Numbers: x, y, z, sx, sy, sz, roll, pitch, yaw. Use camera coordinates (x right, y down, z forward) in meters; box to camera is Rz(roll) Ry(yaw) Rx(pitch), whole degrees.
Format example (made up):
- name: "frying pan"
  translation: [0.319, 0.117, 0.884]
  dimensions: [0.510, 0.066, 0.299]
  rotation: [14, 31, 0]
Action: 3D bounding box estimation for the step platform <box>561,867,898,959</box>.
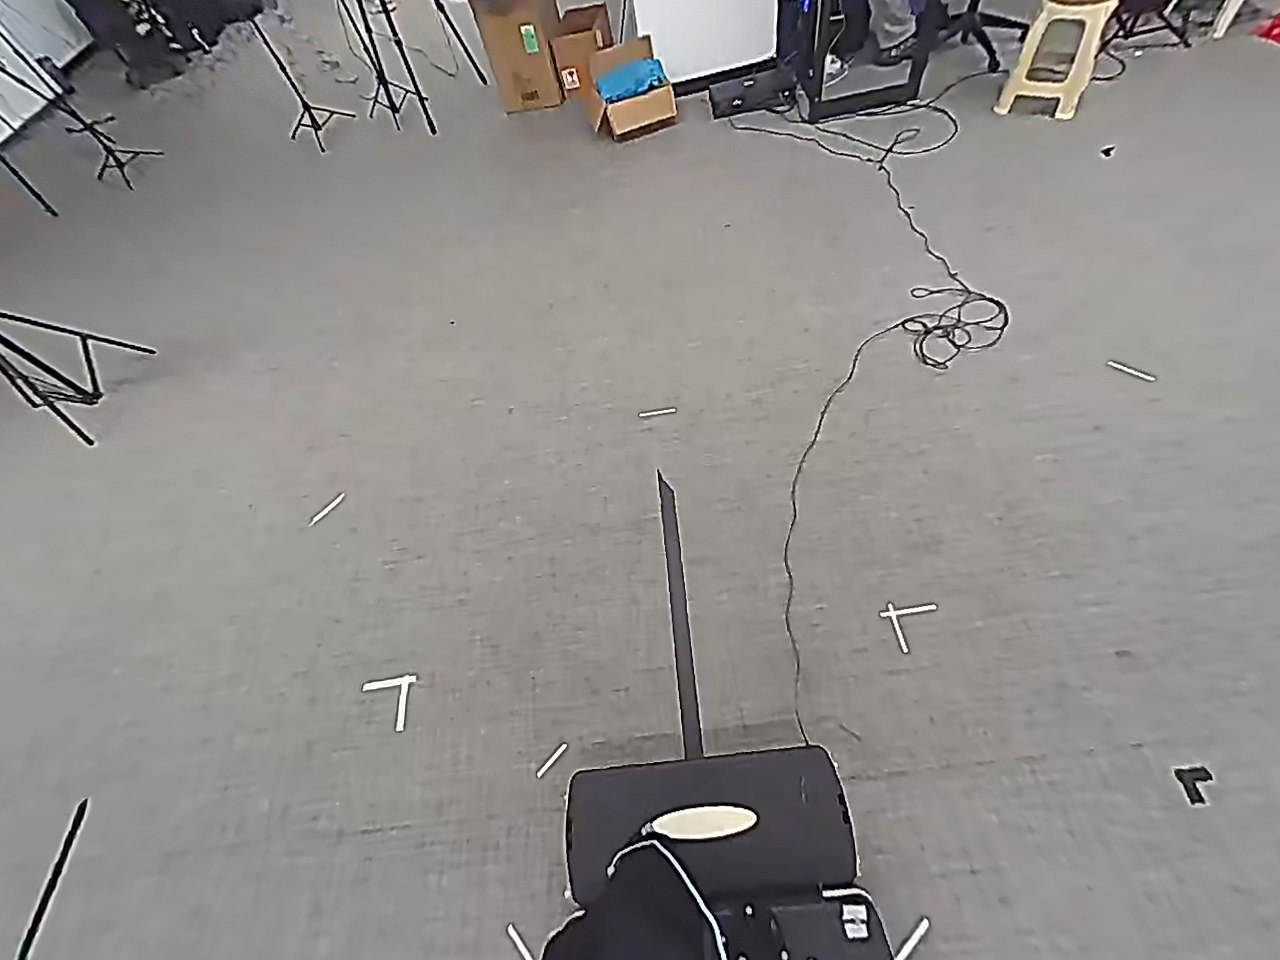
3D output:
- name: "step platform"
  translation: [0.179, 1.010, 1.121]
  dimensions: [0.684, 0.204, 0.286]
  rotation: [-10, 56, 6]
